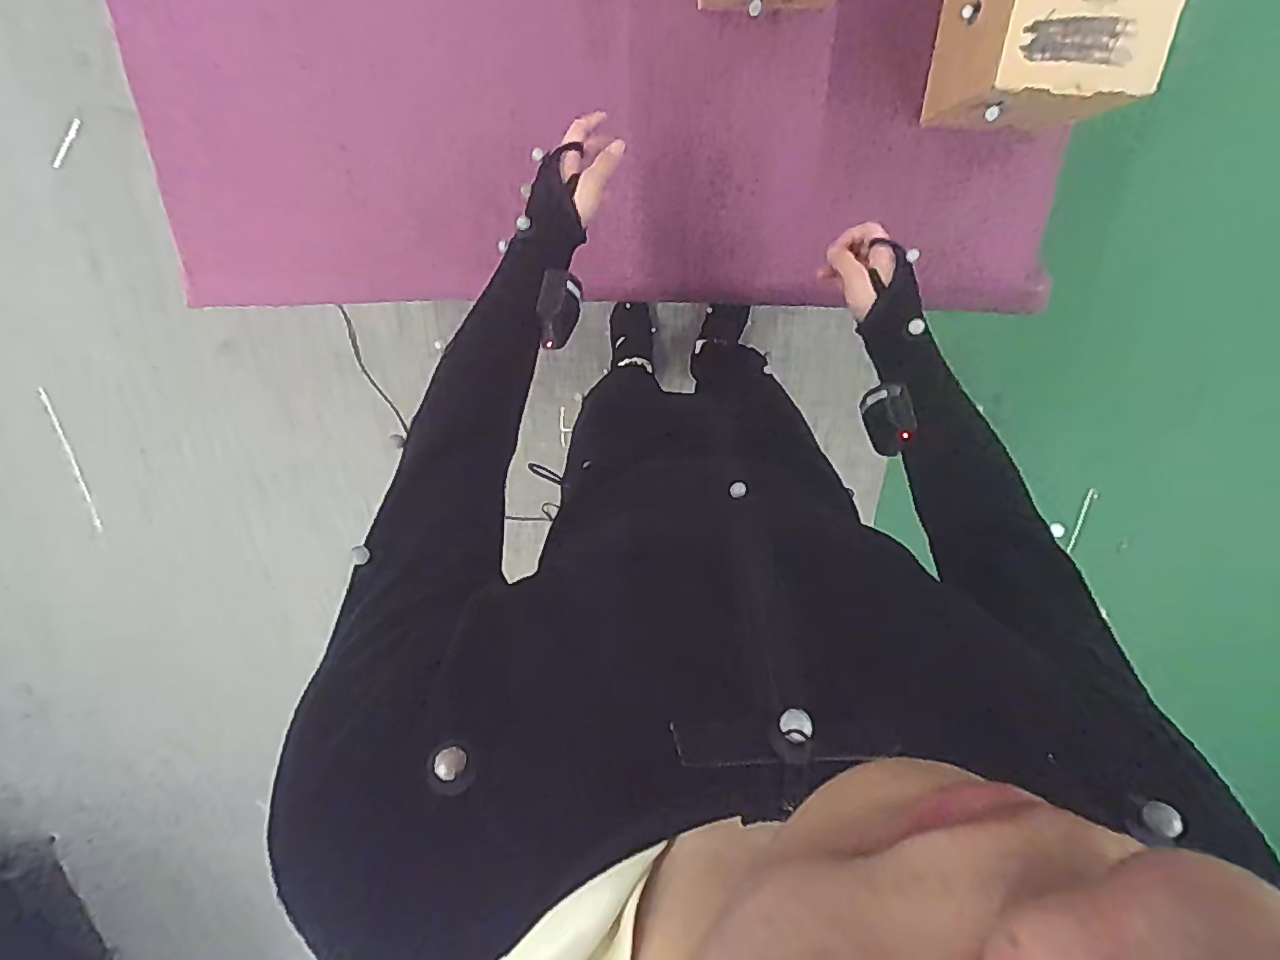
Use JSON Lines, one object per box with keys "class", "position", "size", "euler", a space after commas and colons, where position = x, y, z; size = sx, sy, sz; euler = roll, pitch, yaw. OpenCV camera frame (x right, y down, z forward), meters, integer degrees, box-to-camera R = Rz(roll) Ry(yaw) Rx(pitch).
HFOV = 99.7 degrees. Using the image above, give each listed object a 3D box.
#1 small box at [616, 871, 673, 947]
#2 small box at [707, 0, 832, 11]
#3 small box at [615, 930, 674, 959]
{"class": "small box", "position": [0.012, 1.387, 1.714], "size": [0.168, 0.176, 0.179], "euler": [3, 113, -1]}
{"class": "small box", "position": [0.151, -0.621, 0.549], "size": [0.168, 0.176, 0.179], "euler": [0, 113, 2]}
{"class": "small box", "position": [0.011, 1.450, 1.562], "size": [0.168, 0.176, 0.179], "euler": [5, 112, -3]}
